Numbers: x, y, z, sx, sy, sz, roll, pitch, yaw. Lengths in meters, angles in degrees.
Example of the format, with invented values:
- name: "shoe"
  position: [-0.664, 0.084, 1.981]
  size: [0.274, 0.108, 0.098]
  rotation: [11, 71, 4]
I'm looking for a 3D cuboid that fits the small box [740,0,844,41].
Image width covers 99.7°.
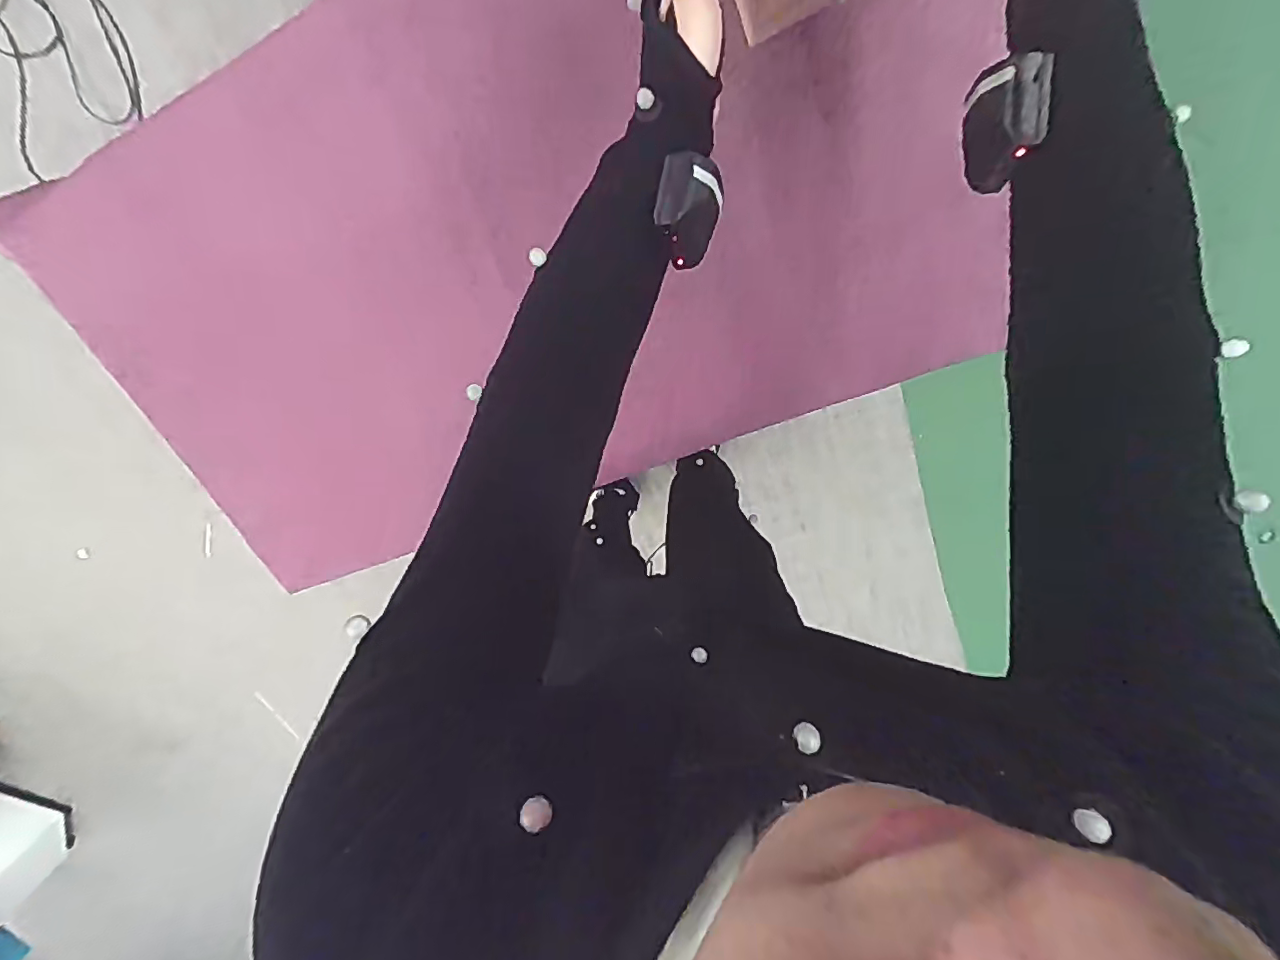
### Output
- name: "small box"
  position: [0.147, -0.511, 0.435]
  size: [0.168, 0.176, 0.179]
  rotation: [-19, 112, 16]
